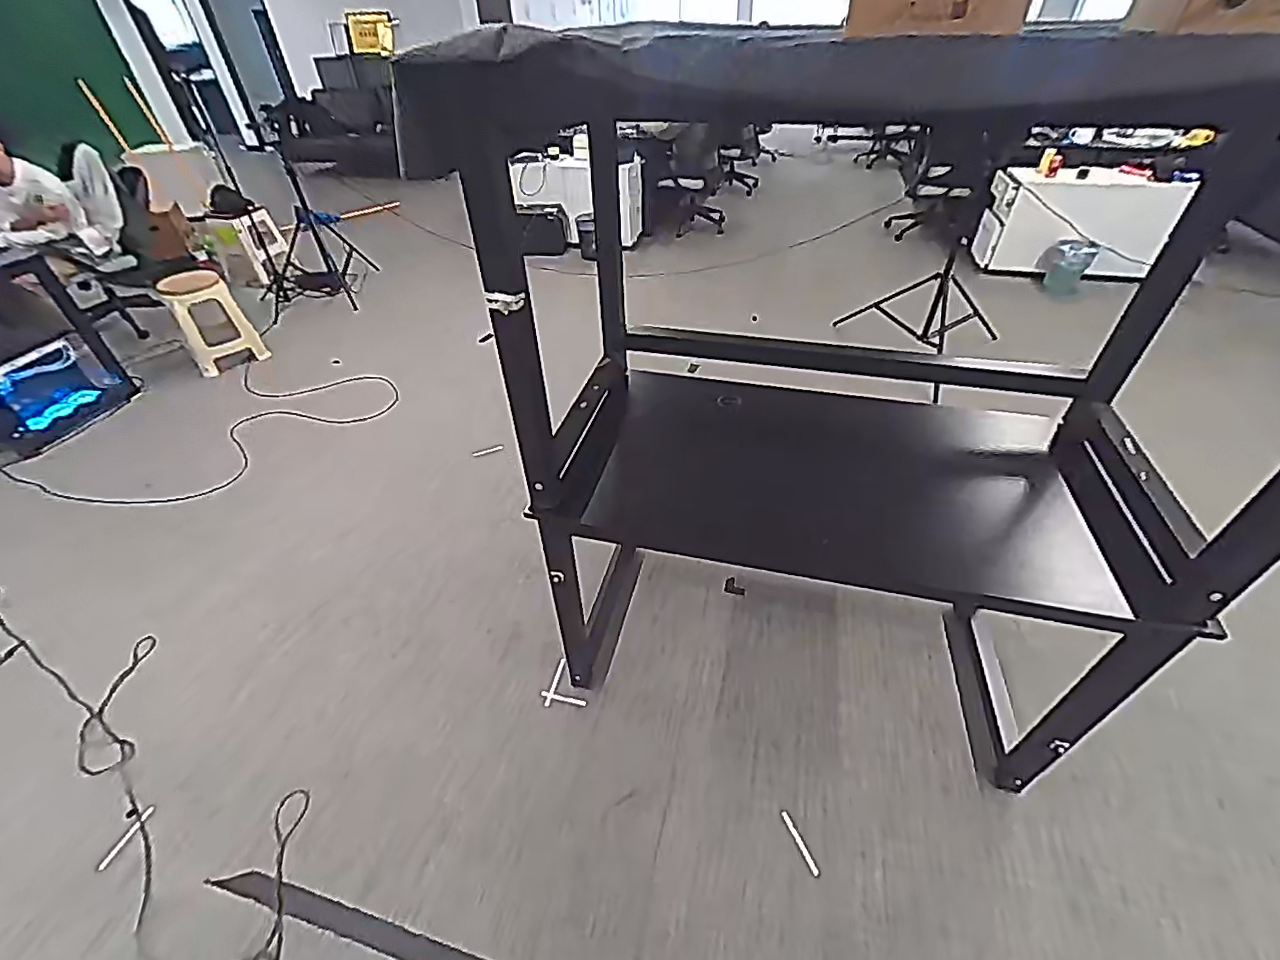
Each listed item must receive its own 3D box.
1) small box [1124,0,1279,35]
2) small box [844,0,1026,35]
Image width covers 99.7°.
[{"bbox_3d":[0.599,-0.519,0.490,0.168,0.176,0.179,12,41,15],"label":"small box"},{"bbox_3d":[0.309,-0.562,0.547,0.168,0.176,0.179,9,40,13],"label":"small box"}]
